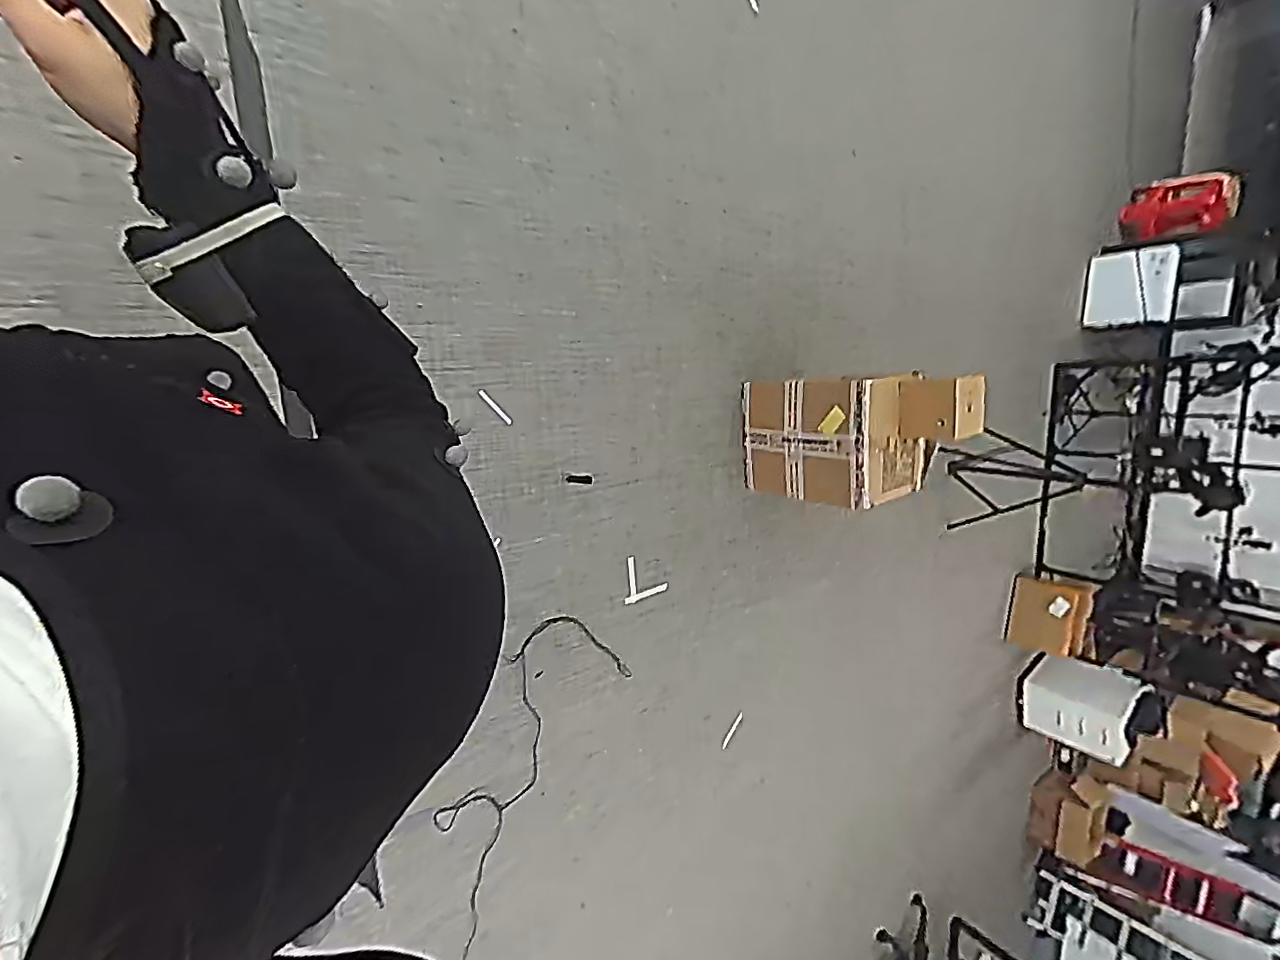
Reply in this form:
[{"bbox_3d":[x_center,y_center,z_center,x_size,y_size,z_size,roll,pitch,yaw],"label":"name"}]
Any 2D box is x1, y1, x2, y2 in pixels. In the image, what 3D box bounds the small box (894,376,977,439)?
[{"bbox_3d":[0.890,-0.221,1.636,0.168,0.176,0.179,-10,101,-33],"label":"small box"}]
